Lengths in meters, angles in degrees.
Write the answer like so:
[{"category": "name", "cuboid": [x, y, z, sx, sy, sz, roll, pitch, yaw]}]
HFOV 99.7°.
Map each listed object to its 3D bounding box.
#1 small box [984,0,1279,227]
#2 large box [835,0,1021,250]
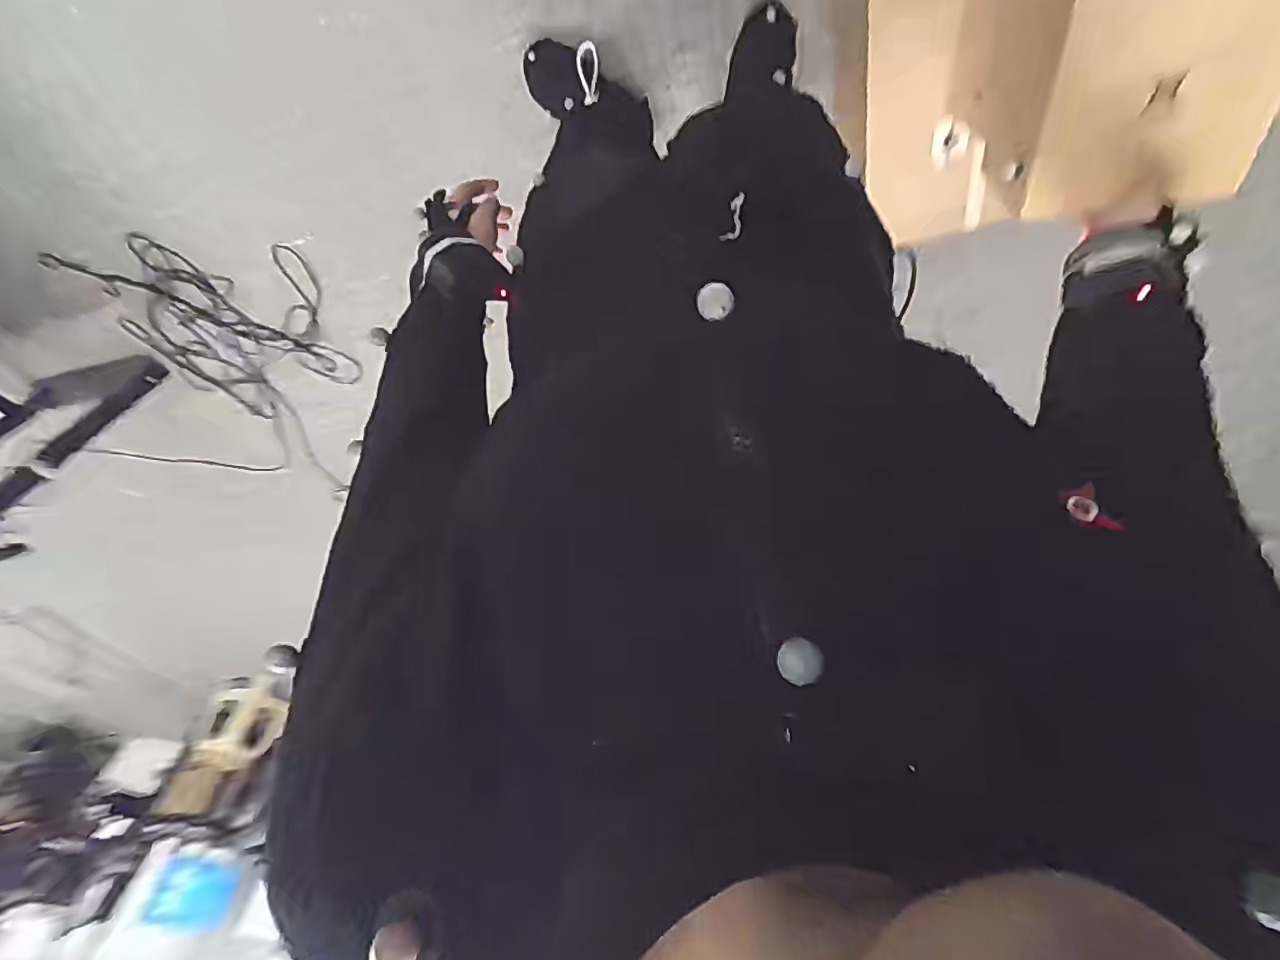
[{"category": "small box", "cuboid": [0.440, -0.363, 0.498, 0.168, 0.176, 0.179, -2, 133, 18]}, {"category": "large box", "cuboid": [0.483, -0.641, 0.823, 0.320, 0.320, 0.408, -6, 135, 15]}]
